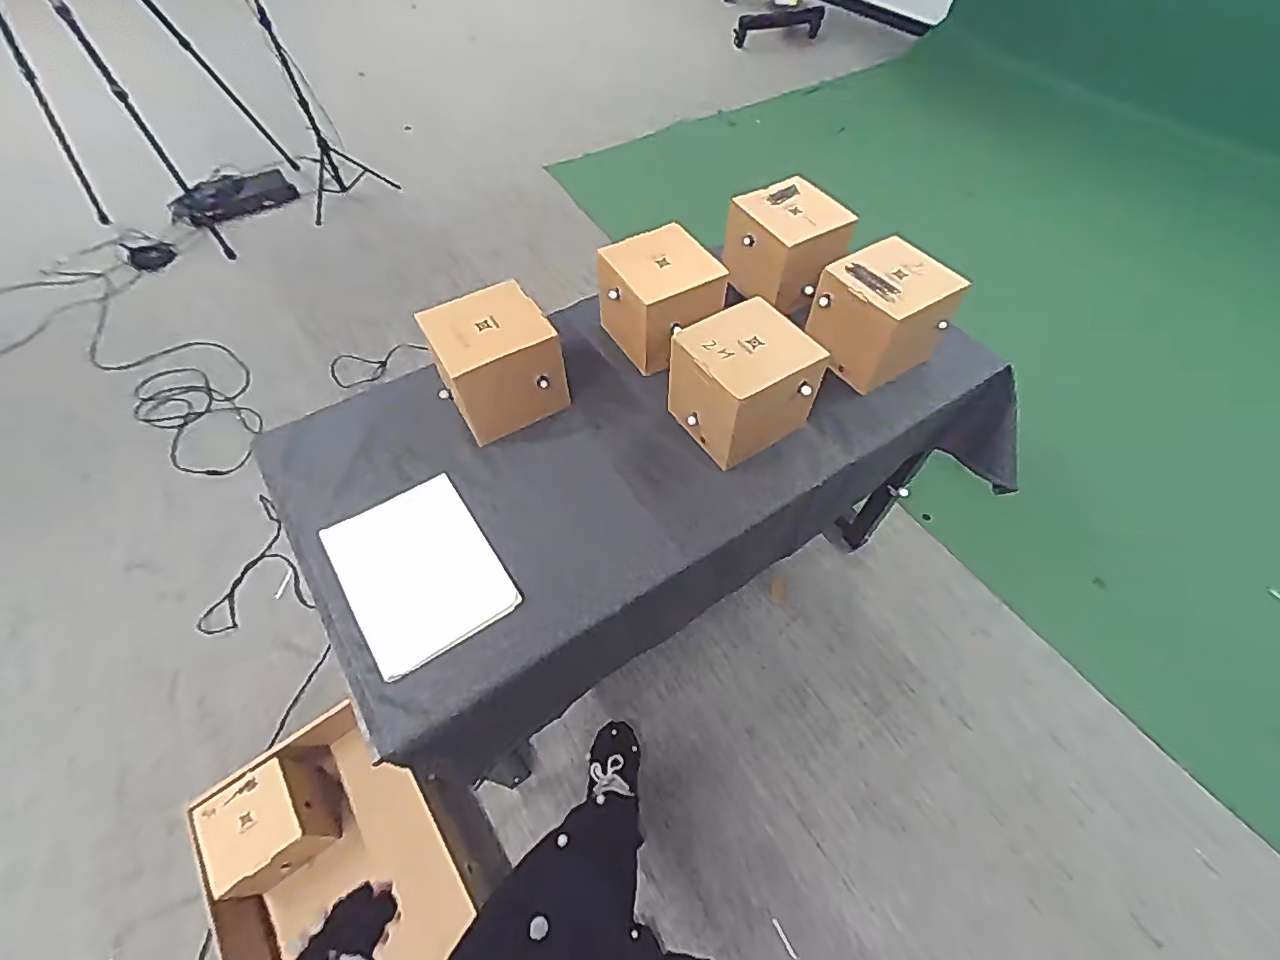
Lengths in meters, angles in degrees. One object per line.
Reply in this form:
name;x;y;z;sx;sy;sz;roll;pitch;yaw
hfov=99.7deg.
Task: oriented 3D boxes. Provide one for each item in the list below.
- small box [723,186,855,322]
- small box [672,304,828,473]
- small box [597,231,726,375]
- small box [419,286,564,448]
small box;0.283;-0.445;1.077;0.168;0.176;0.179;-27;60;-16
small box;0.164;-0.145;0.873;0.179;0.176;0.168;-28;59;-17
small box;0.037;-0.316;0.995;0.168;0.176;0.179;-26;59;-16
small box;-0.238;-0.186;0.905;0.179;0.176;0.168;-26;59;-18
